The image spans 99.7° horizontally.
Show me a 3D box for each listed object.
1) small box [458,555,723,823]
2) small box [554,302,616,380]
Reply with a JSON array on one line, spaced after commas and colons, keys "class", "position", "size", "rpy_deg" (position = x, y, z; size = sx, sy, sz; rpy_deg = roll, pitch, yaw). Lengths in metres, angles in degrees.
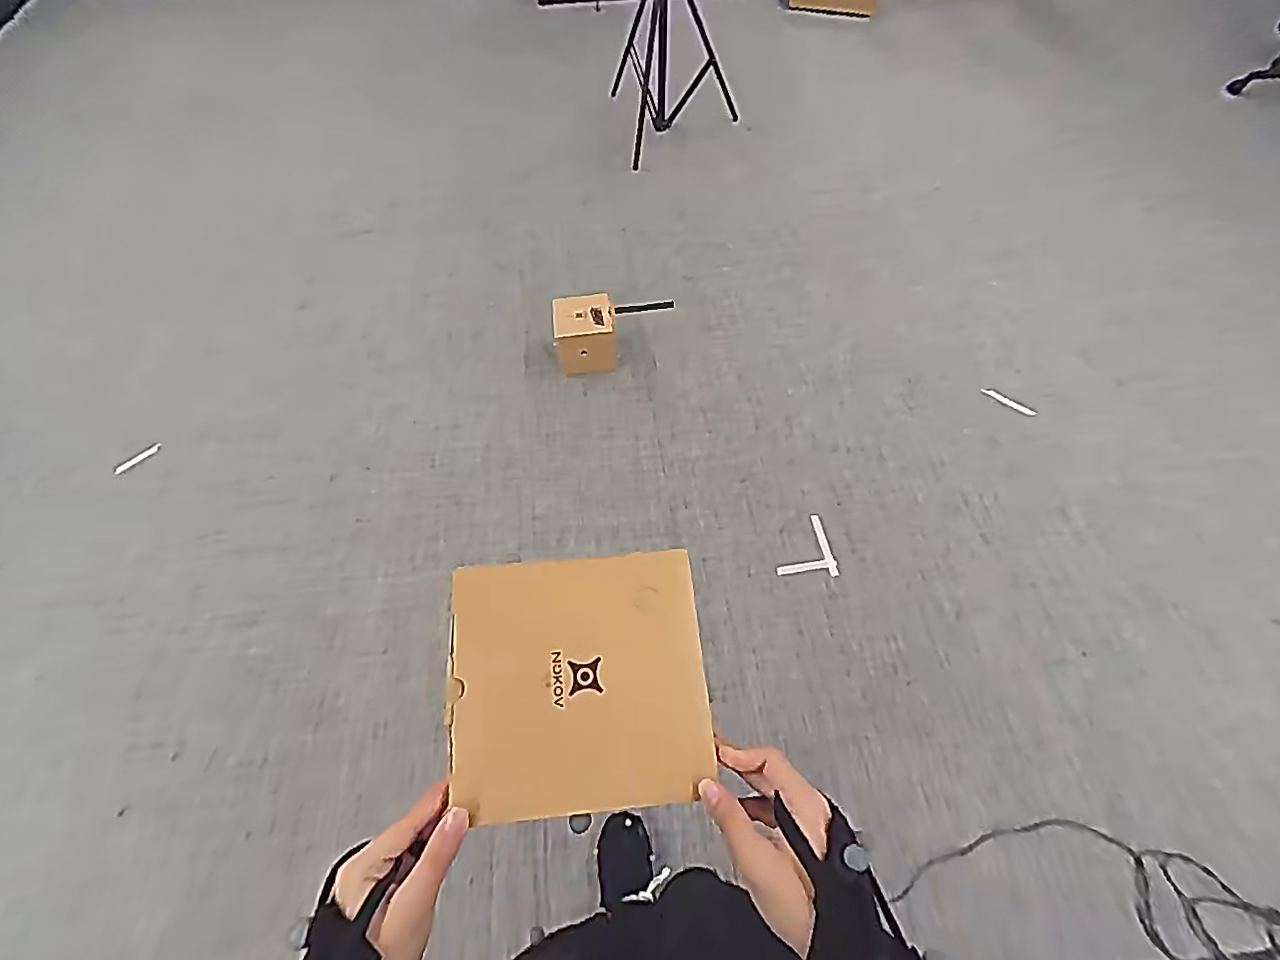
[{"class": "small box", "position": [-0.039, 0.166, 0.453], "size": [0.179, 0.176, 0.168], "rpy_deg": [-5, 69, -2]}, {"class": "small box", "position": [-0.170, -0.436, 1.708], "size": [0.179, 0.176, 0.168], "rpy_deg": [-7, 60, -1]}]
